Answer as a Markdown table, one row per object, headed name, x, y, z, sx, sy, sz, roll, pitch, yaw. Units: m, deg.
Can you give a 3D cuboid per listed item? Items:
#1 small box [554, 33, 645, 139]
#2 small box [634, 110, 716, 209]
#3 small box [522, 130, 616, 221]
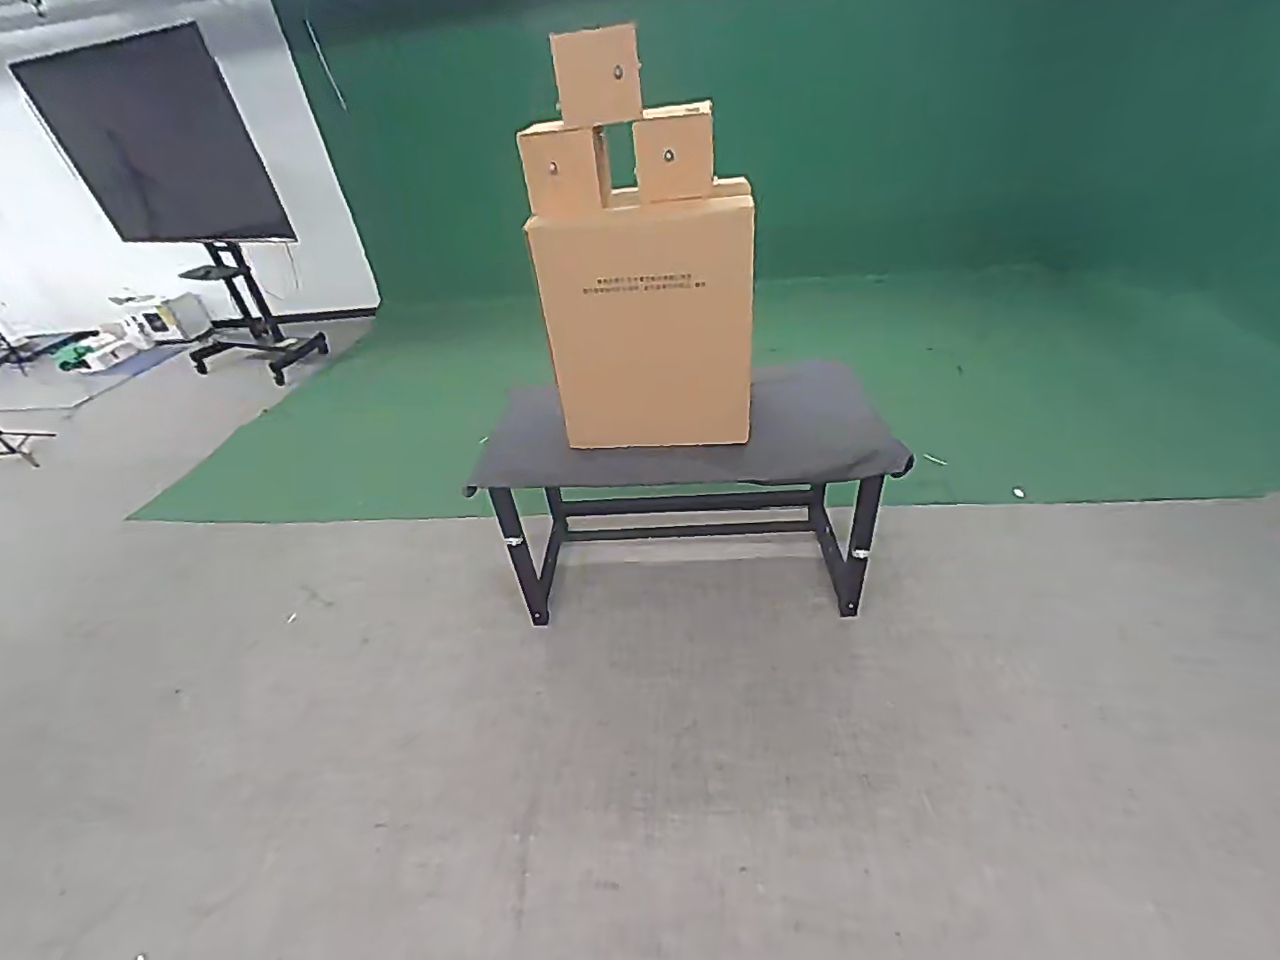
| name | x | y | z | sx | sy | sz | roll | pitch | yaw |
| --- | --- | --- | --- | --- | --- | --- | --- | --- | --- |
| small box | -0.084 | -0.875 | 1.204 | 0.179 | 0.176 | 0.168 | -8 | 38 | 1 |
| small box | 0.092 | -0.765 | 1.295 | 0.179 | 0.176 | 0.168 | -1 | 40 | 10 |
| small box | -0.165 | -0.743 | 1.316 | 0.179 | 0.176 | 0.168 | 0 | 40 | 9 |
